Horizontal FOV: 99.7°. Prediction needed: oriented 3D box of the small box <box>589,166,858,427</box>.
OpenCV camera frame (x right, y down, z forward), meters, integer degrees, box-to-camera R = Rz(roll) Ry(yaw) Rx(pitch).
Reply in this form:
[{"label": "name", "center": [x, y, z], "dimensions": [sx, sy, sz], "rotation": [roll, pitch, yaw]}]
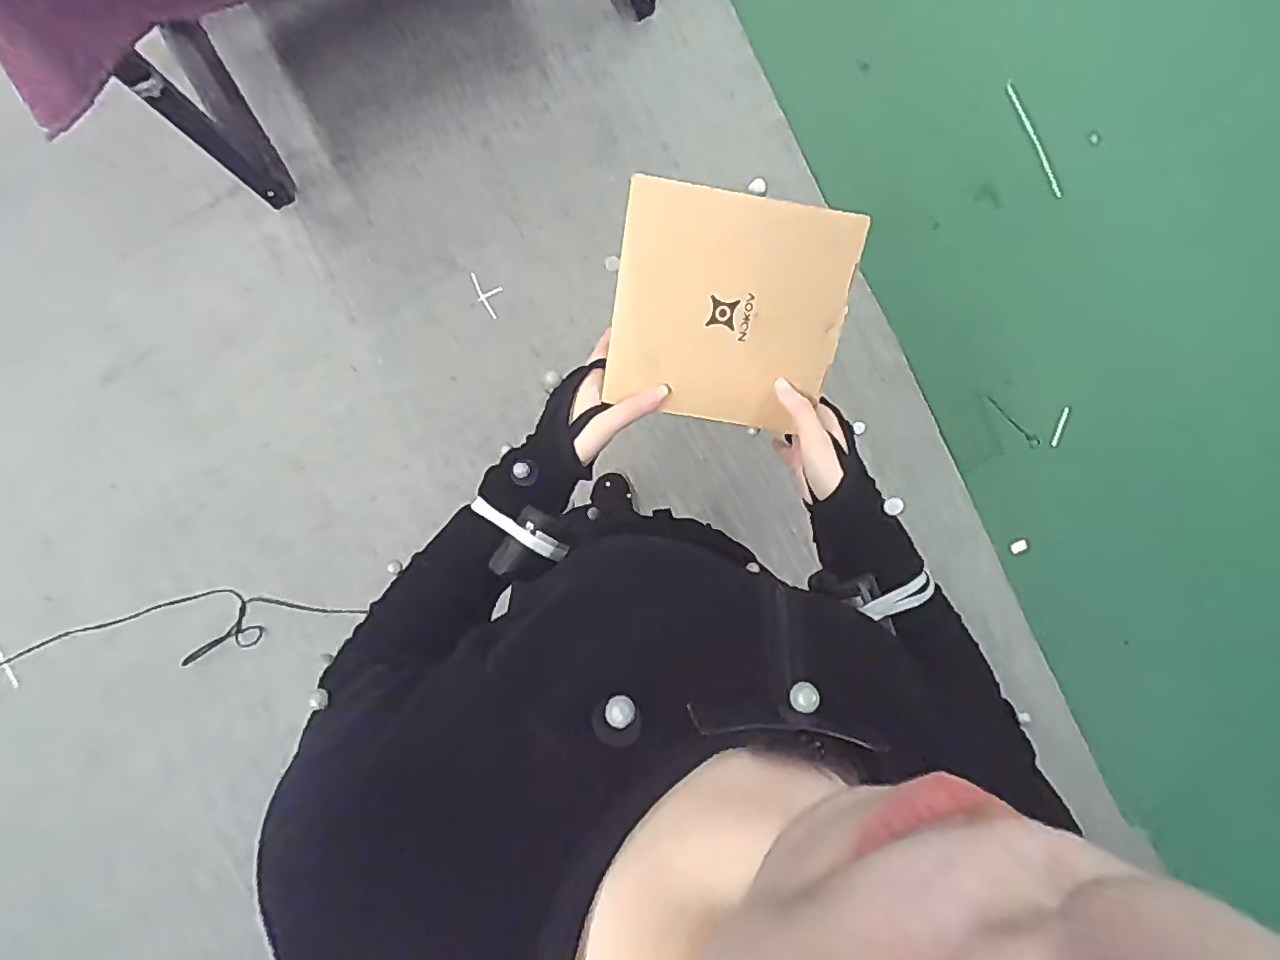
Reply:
[{"label": "small box", "center": [0.058, -0.158, 0.482], "dimensions": [0.179, 0.176, 0.168], "rotation": [9, 110, -3]}]
